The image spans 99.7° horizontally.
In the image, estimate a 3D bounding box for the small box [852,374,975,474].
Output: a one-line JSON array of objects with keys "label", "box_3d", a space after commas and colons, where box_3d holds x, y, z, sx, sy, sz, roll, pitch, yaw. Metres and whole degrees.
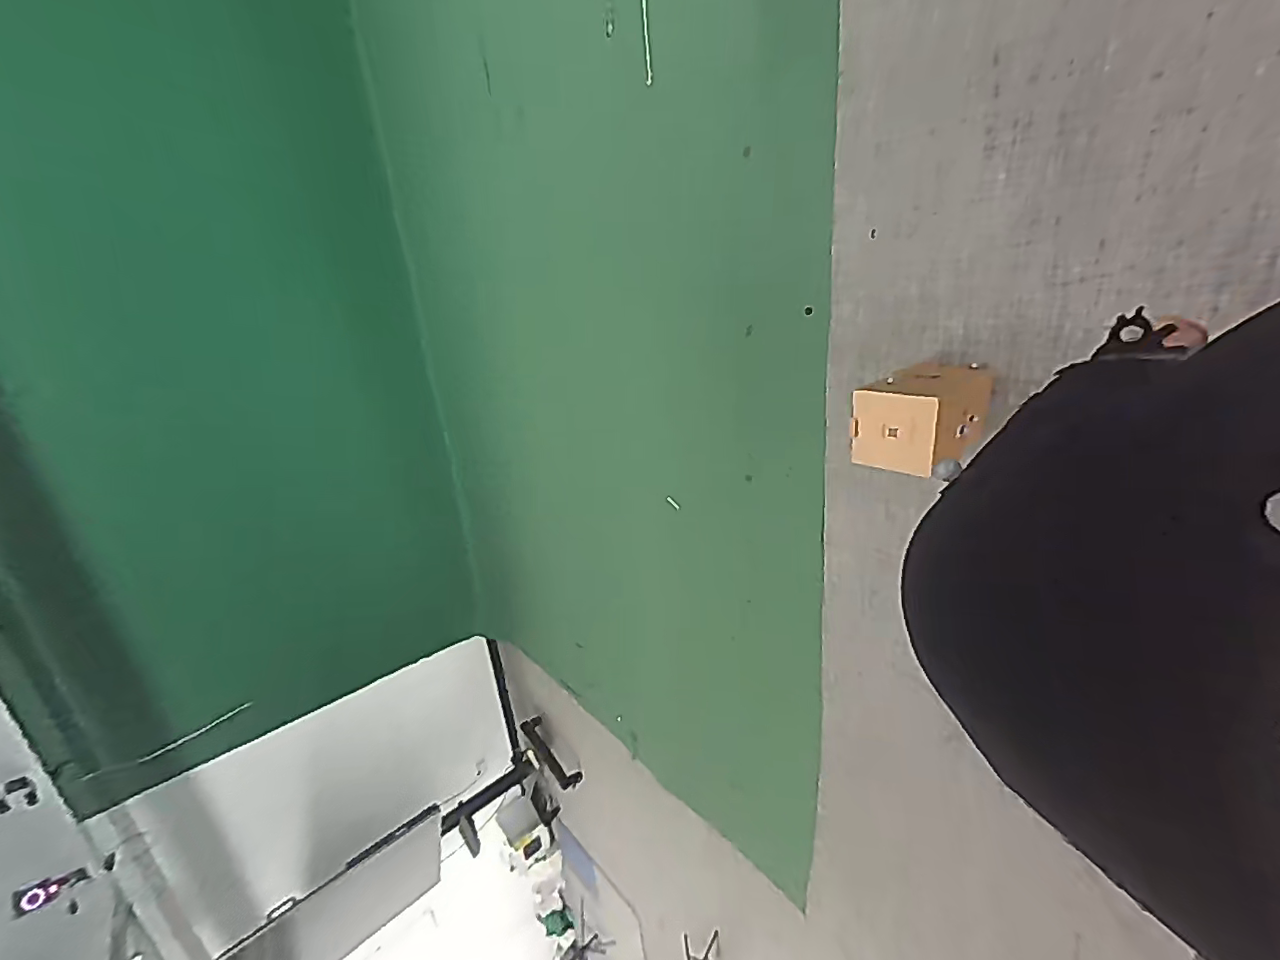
[{"label": "small box", "box_3d": [0.578, -0.128, 1.150, 0.179, 0.176, 0.168, 16, 120, 47]}]

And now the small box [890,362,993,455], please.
[{"label": "small box", "box_3d": [0.692, -0.173, 1.257, 0.168, 0.176, 0.179, 21, 123, 46]}]
